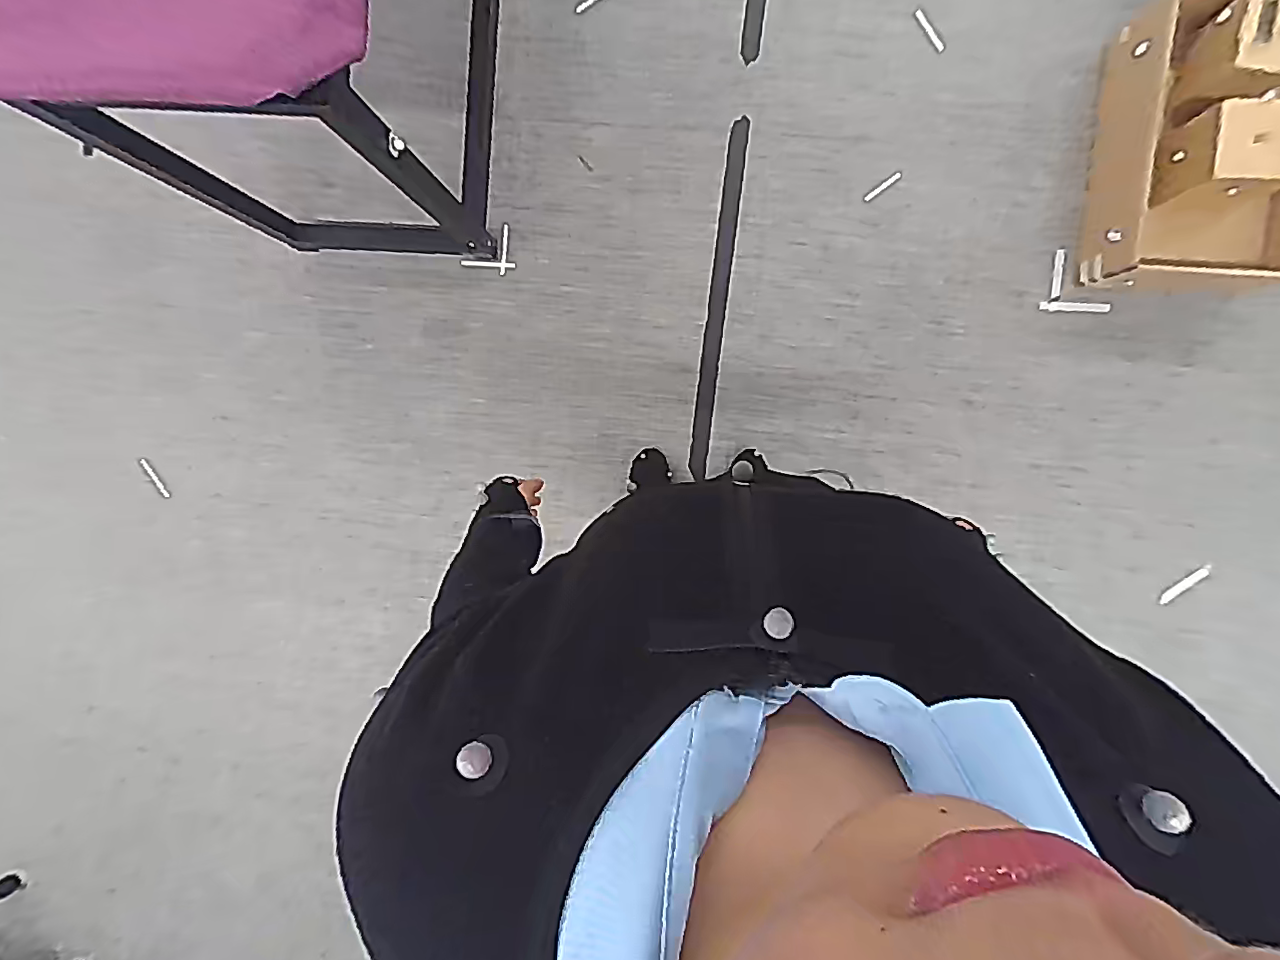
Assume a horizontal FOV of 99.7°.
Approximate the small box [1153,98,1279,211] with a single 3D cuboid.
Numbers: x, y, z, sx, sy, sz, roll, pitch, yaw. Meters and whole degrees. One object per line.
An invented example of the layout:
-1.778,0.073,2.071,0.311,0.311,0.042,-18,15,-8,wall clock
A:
1.335,-0.733,1.232,0.179,0.176,0.168,4,94,5,small box
